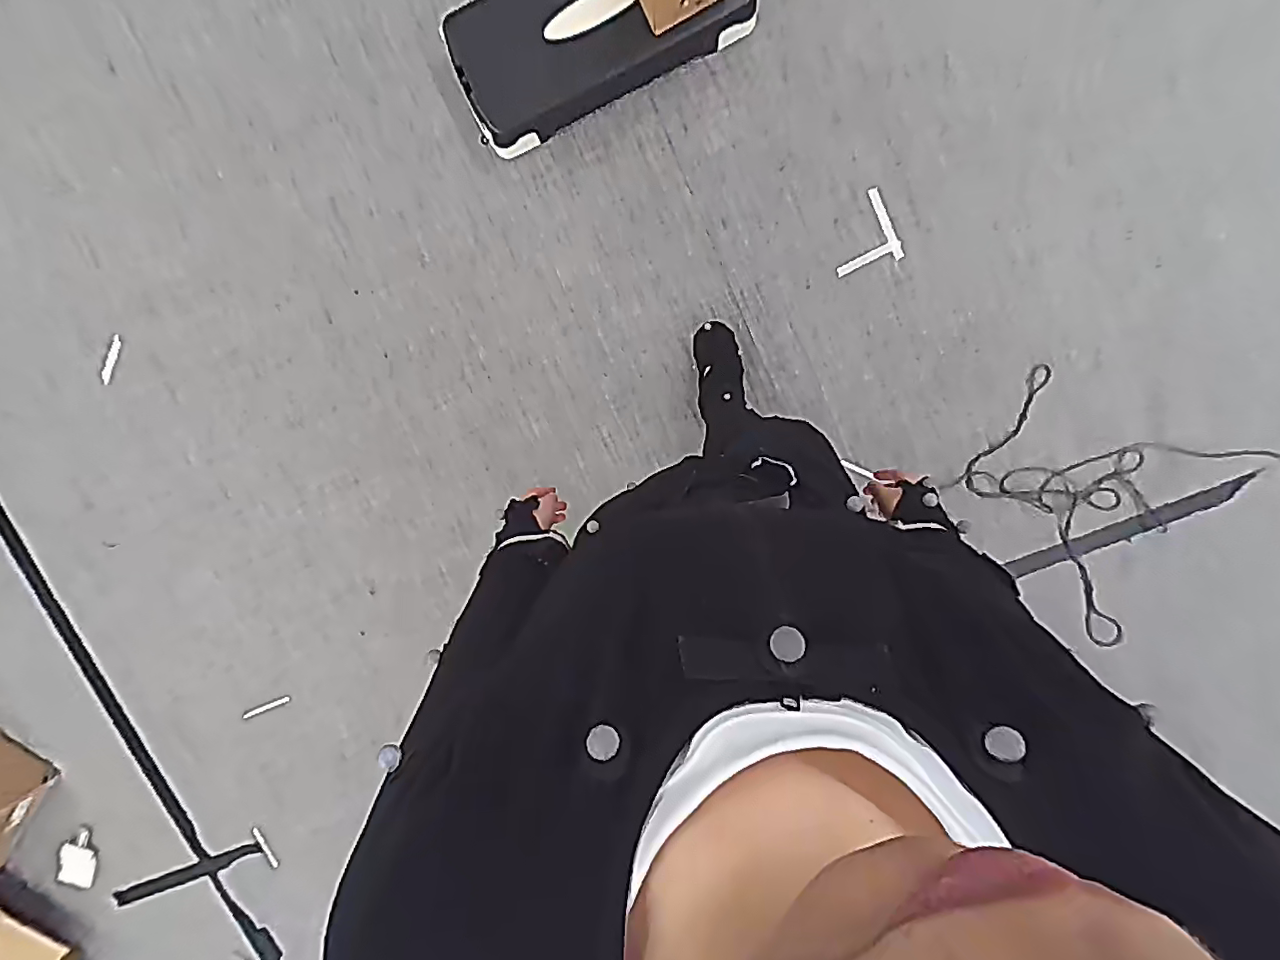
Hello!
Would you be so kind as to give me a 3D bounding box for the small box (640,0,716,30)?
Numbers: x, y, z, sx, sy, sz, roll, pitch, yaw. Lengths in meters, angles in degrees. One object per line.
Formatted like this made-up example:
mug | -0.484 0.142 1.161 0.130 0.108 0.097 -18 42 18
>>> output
small box | 0.063 -1.046 1.049 0.168 0.176 0.179 -26 97 6
